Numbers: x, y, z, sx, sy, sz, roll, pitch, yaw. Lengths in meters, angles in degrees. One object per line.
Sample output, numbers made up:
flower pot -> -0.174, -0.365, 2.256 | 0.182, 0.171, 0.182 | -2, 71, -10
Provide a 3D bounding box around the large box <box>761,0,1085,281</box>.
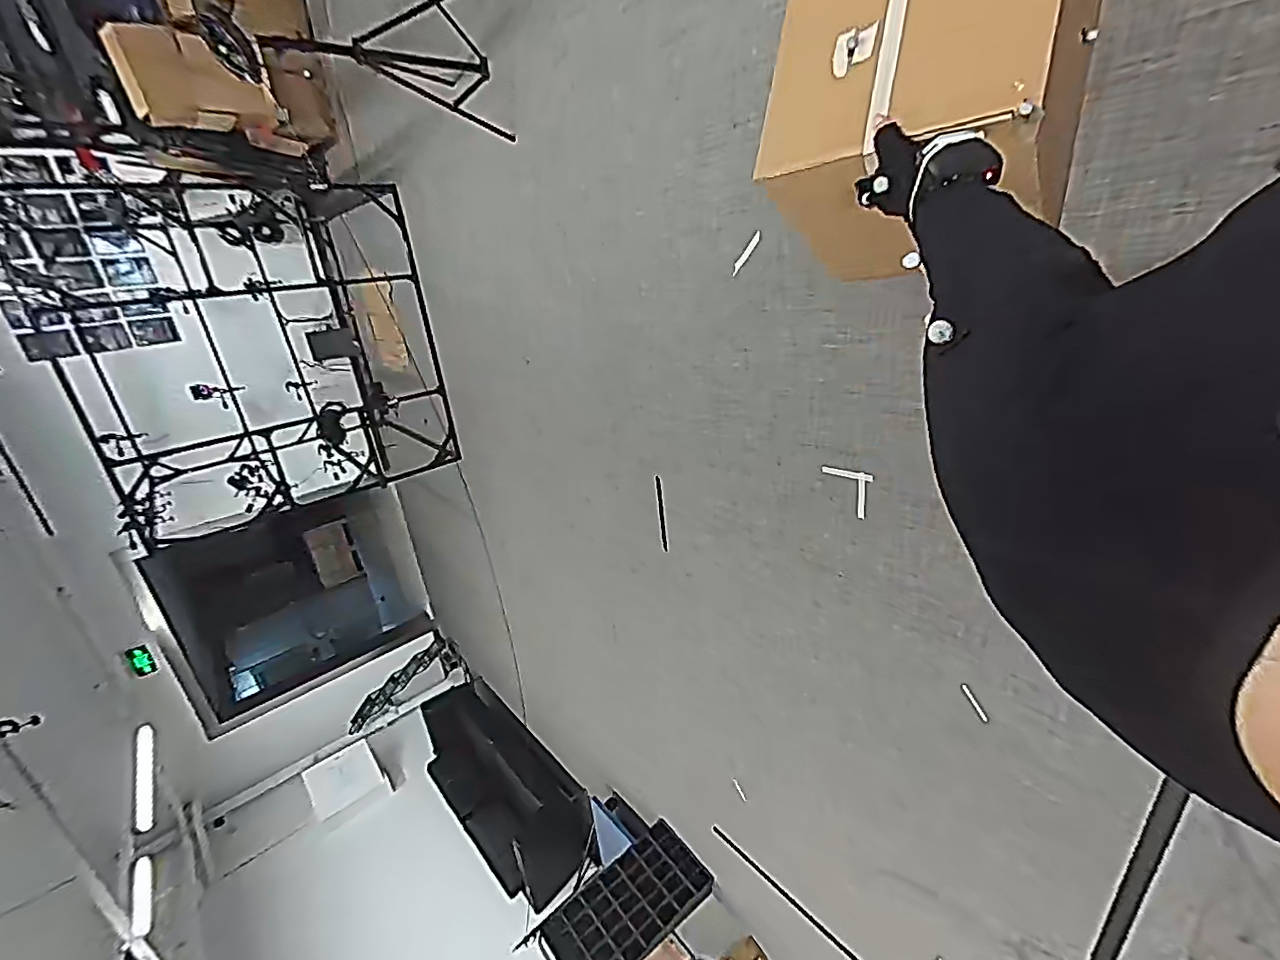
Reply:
large box -> 0.405, -0.548, 0.755 | 0.320, 0.320, 0.408 | 9, 87, 41
